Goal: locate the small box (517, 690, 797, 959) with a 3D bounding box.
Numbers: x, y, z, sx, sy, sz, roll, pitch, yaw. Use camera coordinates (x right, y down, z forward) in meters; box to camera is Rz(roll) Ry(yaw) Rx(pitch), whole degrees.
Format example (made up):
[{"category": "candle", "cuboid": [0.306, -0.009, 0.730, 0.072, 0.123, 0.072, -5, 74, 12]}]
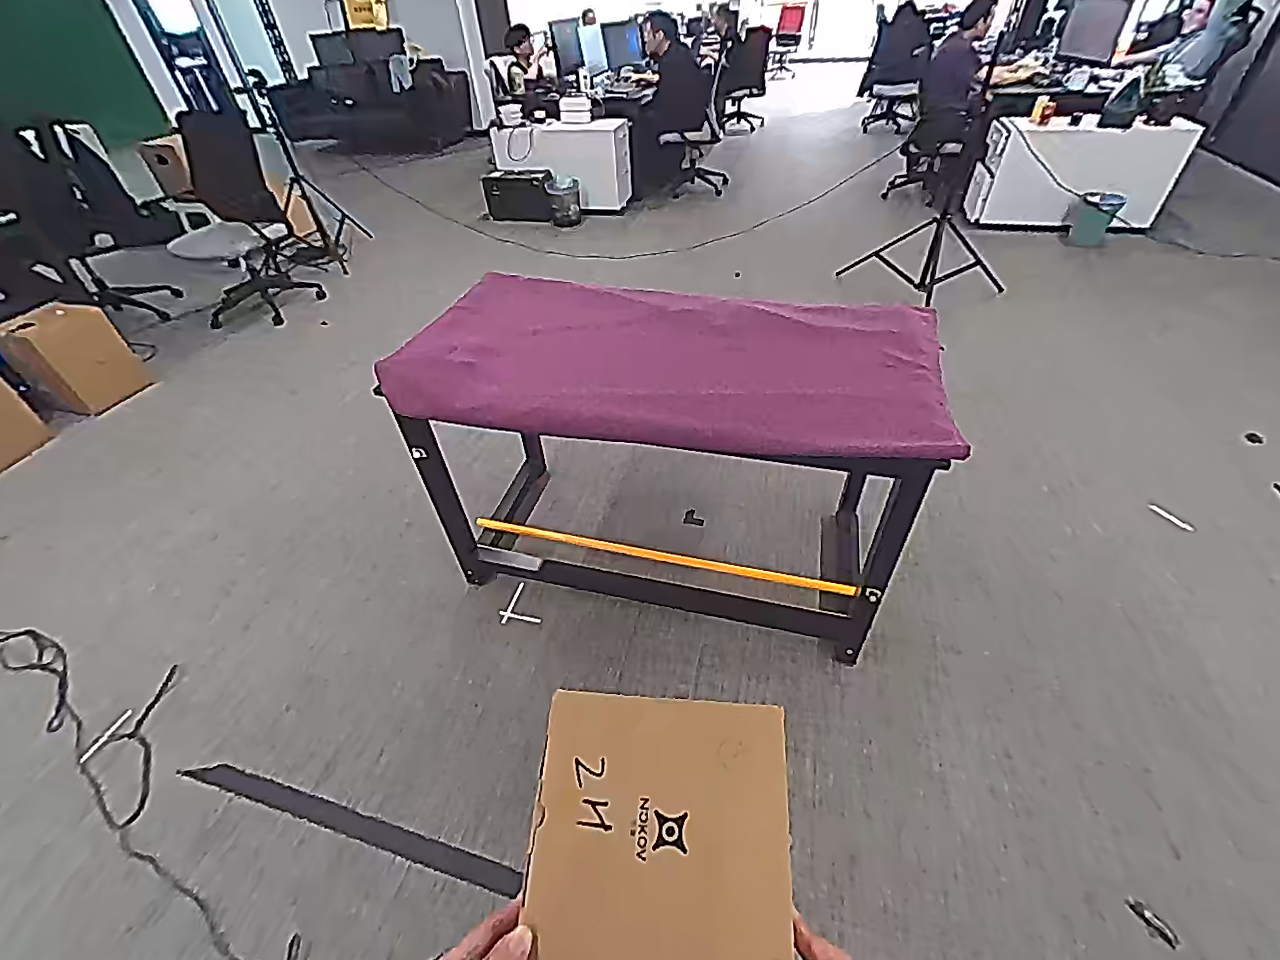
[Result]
[{"category": "small box", "cuboid": [0.022, 0.274, 0.439, 0.179, 0.176, 0.168, 1, 61, 7]}]
